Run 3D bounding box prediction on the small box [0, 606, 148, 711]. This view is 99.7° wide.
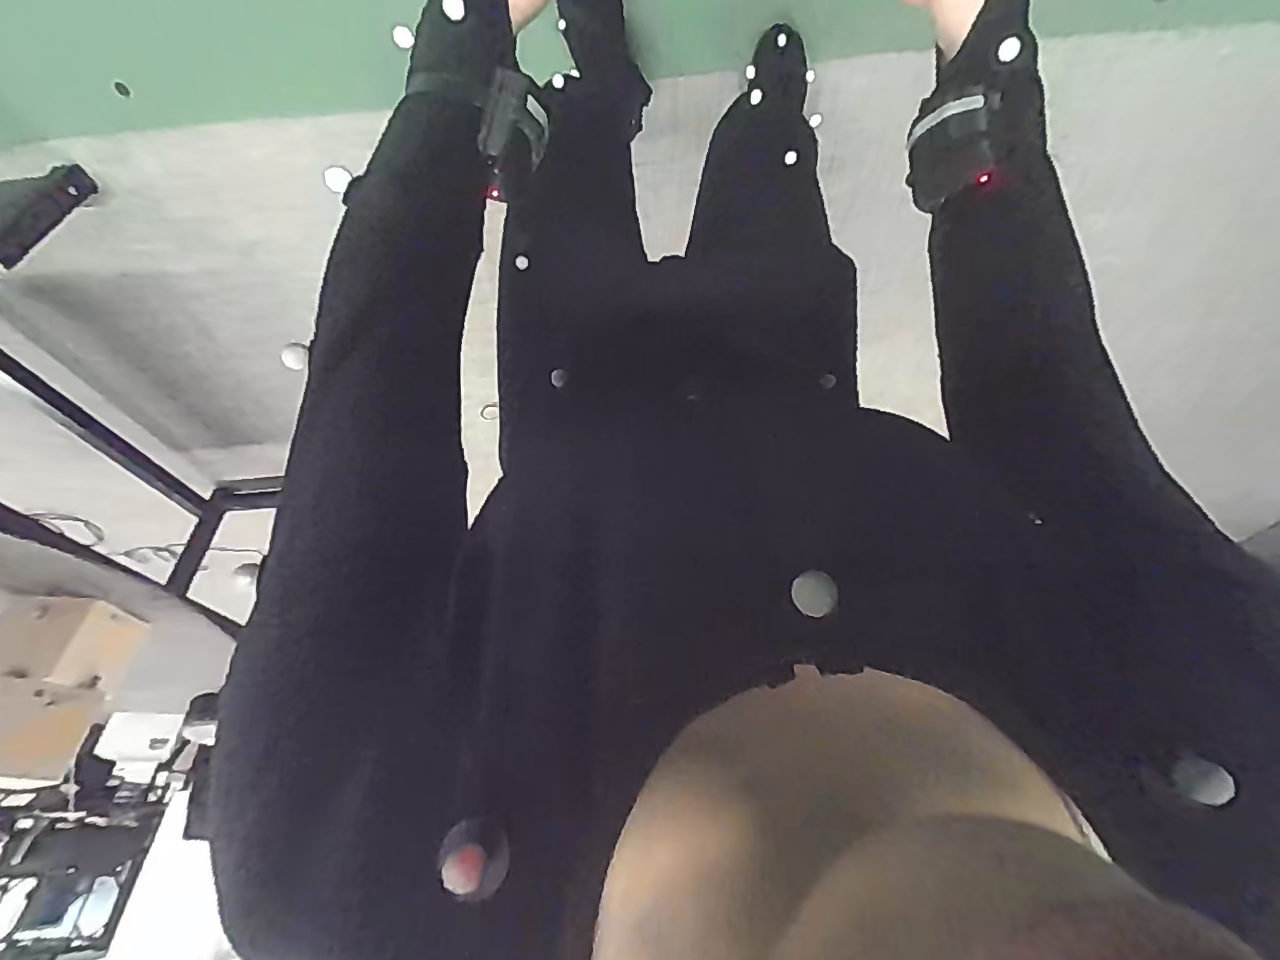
[{"bbox_3d":[-1.204,0.371,1.129,0.179,0.176,0.168,3,145,-3],"label":"small box"}]
